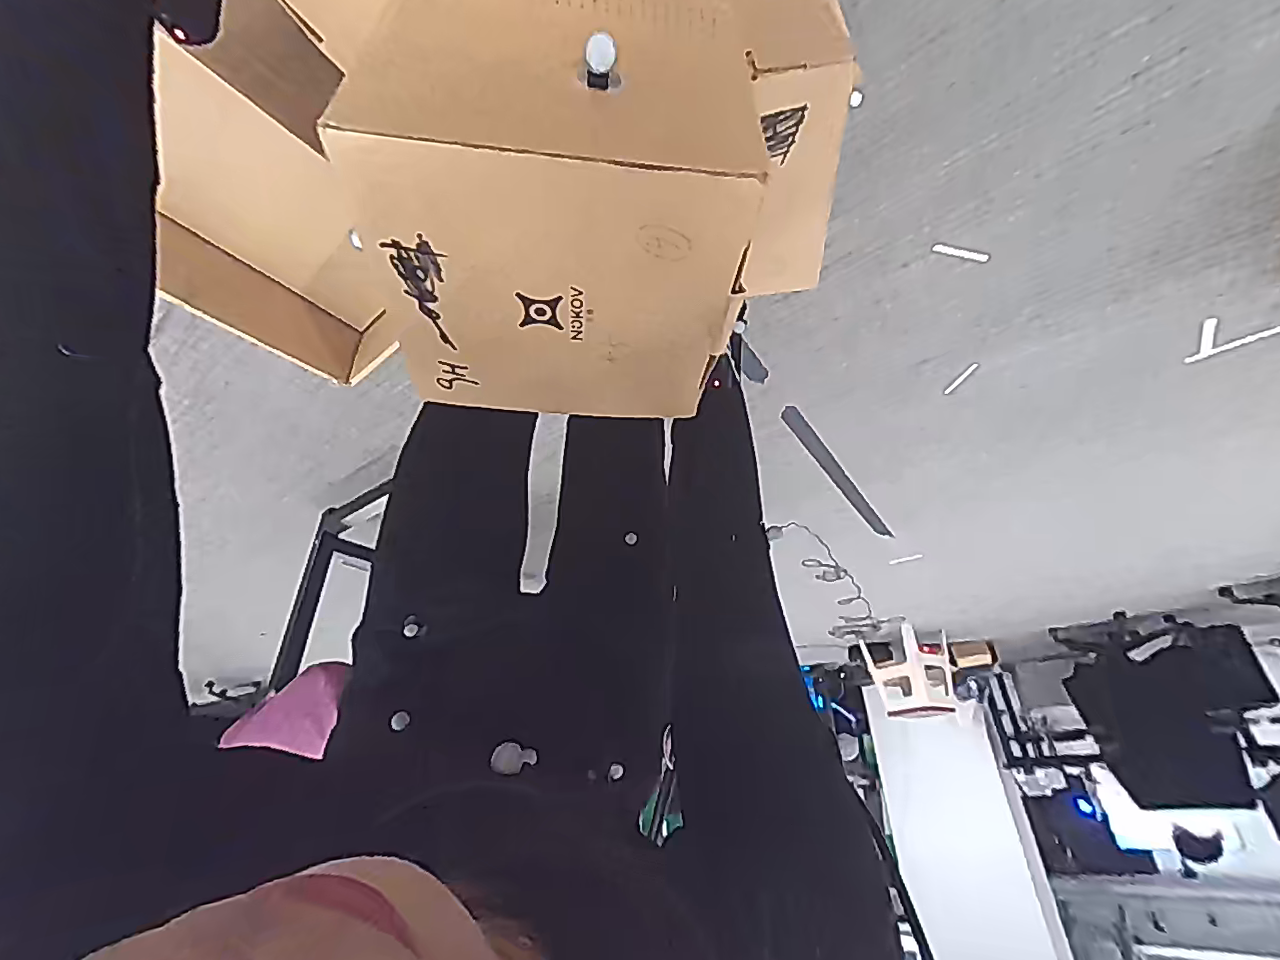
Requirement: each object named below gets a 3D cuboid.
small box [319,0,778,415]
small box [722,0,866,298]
[{"bbox_3d":[-0.041,-0.156,0.308,0.179,0.176,0.168,3,150,-6],"label":"small box"},{"bbox_3d":[0.063,-0.270,0.438,0.168,0.176,0.179,-7,149,7],"label":"small box"}]
